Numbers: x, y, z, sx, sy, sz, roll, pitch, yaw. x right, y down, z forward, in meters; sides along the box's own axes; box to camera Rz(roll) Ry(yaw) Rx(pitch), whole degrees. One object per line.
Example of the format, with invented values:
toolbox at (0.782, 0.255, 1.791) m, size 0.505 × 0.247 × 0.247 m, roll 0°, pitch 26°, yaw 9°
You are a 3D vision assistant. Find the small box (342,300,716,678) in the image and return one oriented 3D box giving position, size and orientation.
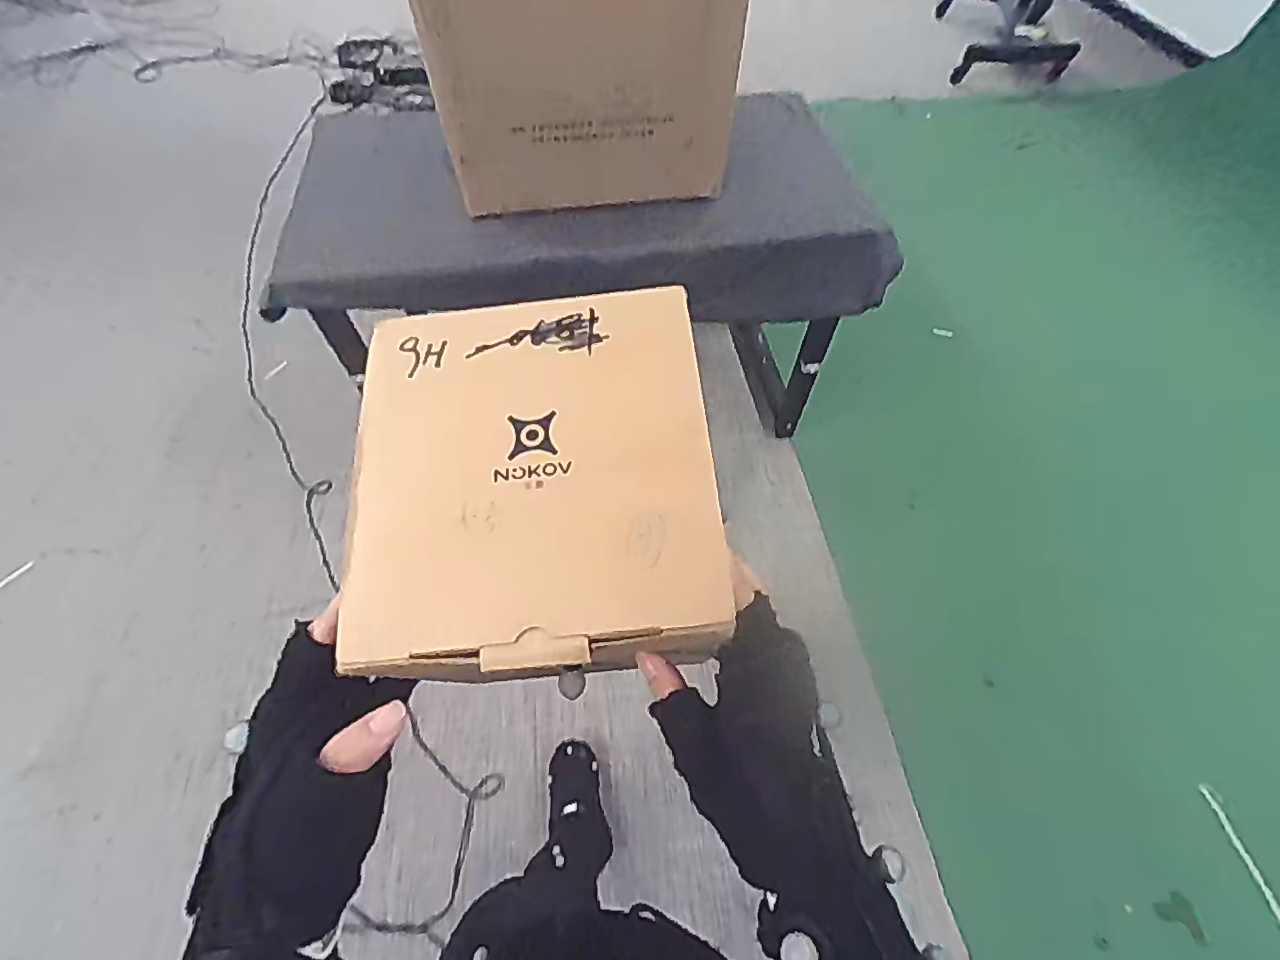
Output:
small box at (-0.049, 0.022, 0.331) m, size 0.168 × 0.176 × 0.179 m, roll -7°, pitch 68°, yaw 1°
